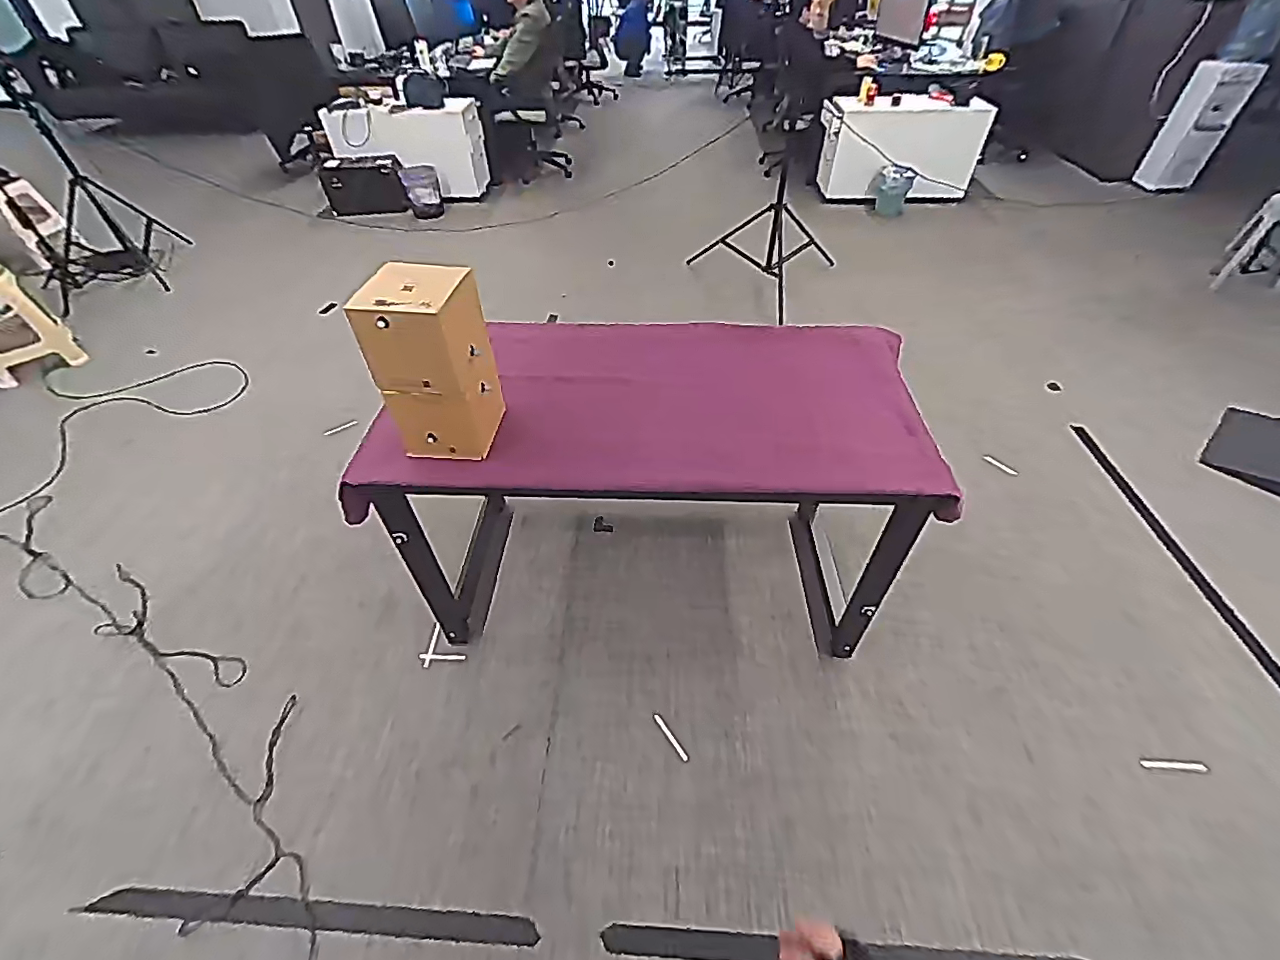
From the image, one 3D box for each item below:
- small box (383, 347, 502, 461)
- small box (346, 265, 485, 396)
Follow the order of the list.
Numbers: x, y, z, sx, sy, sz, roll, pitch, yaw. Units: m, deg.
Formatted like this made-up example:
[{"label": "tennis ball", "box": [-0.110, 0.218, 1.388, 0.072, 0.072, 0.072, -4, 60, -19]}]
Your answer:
[{"label": "small box", "box": [-0.395, -0.162, 1.122, 0.168, 0.176, 0.179, 3, 45, 3]}, {"label": "small box", "box": [-0.401, -0.278, 1.006, 0.168, 0.176, 0.179, 5, 45, 5]}]
